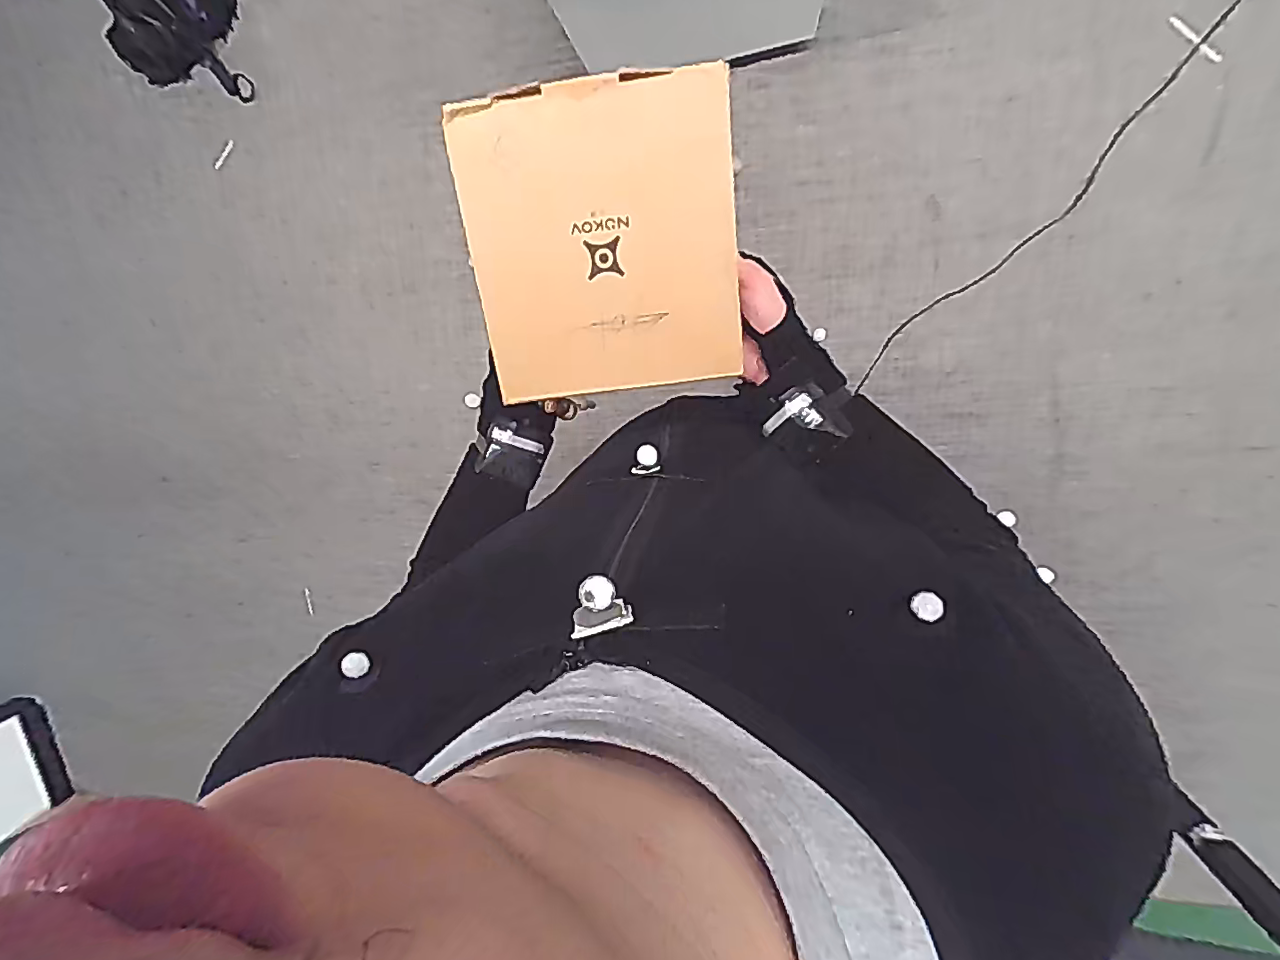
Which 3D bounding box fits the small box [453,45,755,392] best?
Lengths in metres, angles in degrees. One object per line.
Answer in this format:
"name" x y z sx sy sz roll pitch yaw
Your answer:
"small box" -0.014 -0.177 0.401 0.168 0.176 0.179 -6 113 4
